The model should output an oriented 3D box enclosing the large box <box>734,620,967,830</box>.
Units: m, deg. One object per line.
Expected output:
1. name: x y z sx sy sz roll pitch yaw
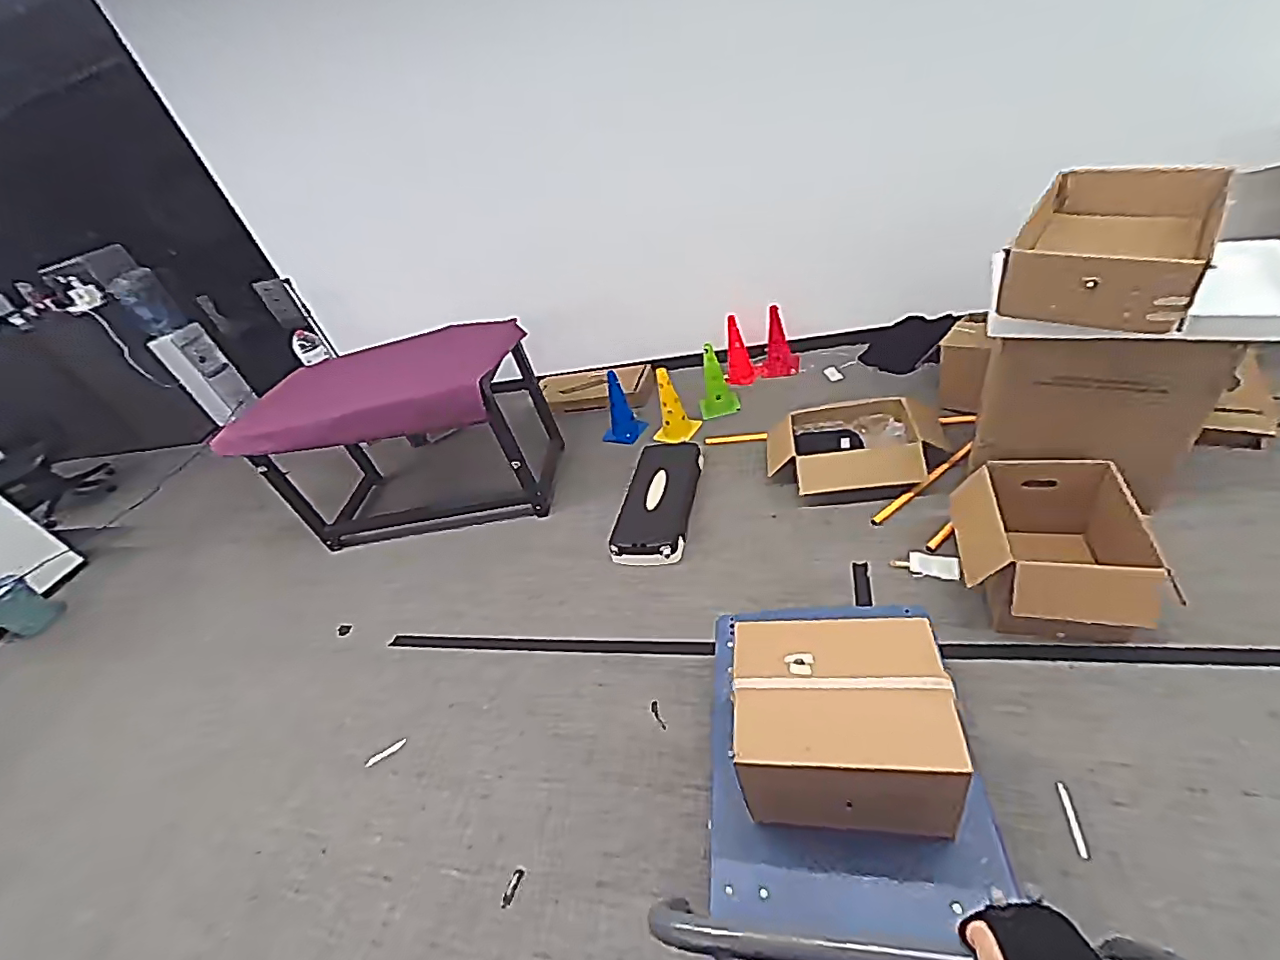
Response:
1. large box: 0.430 0.532 1.175 0.408 0.320 0.320 -7 38 16
